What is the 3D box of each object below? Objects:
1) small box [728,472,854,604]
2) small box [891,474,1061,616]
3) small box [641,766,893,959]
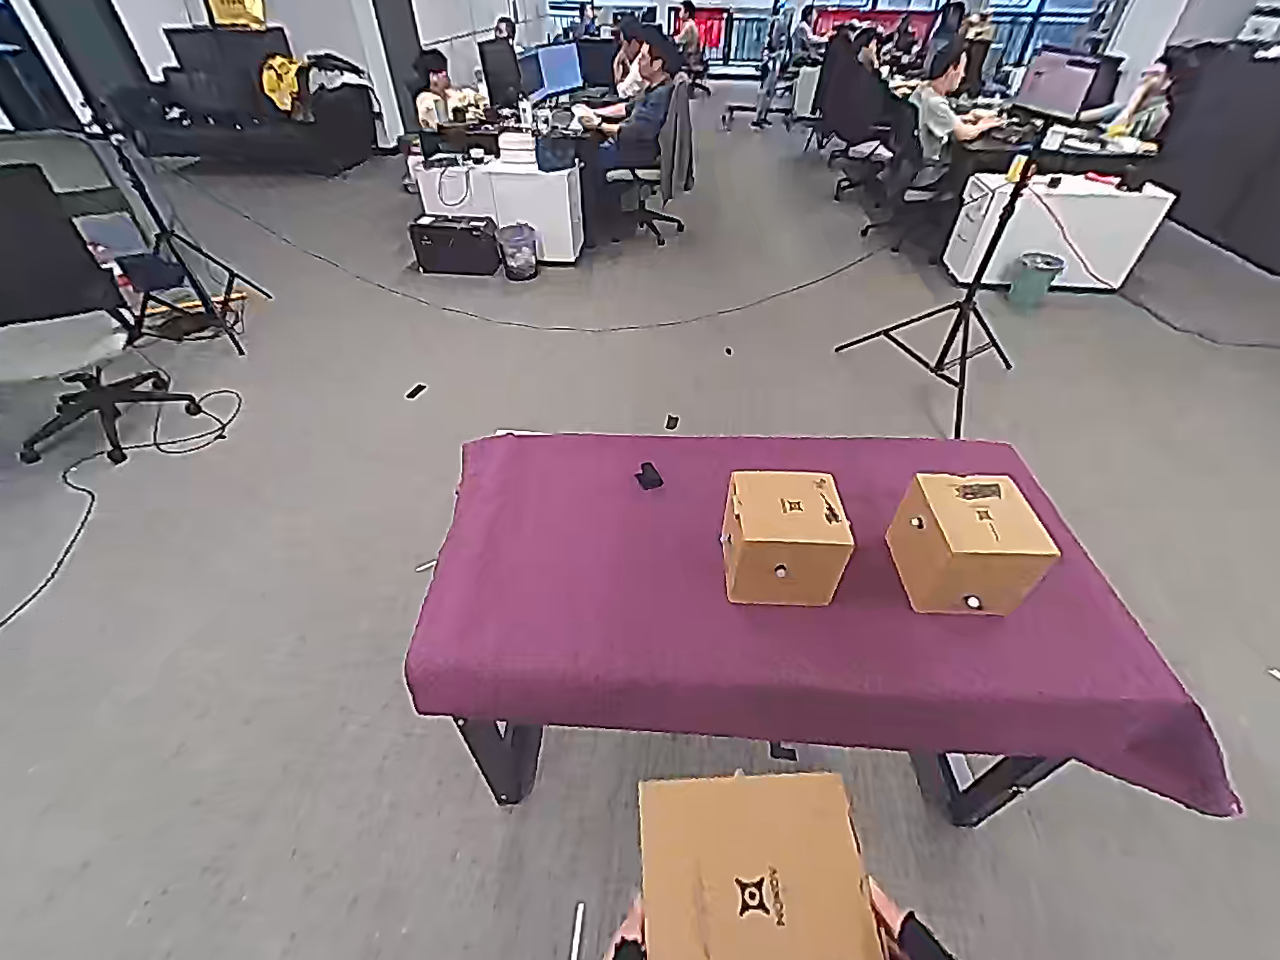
[{"bbox_3d":[0.248,0.102,0.944,0.179,0.176,0.168,1,42,2],"label":"small box"},{"bbox_3d":[0.558,0.111,0.933,0.168,0.176,0.179,1,43,2],"label":"small box"},{"bbox_3d":[0.096,0.368,0.472,0.179,0.176,0.168,-6,46,1],"label":"small box"}]
